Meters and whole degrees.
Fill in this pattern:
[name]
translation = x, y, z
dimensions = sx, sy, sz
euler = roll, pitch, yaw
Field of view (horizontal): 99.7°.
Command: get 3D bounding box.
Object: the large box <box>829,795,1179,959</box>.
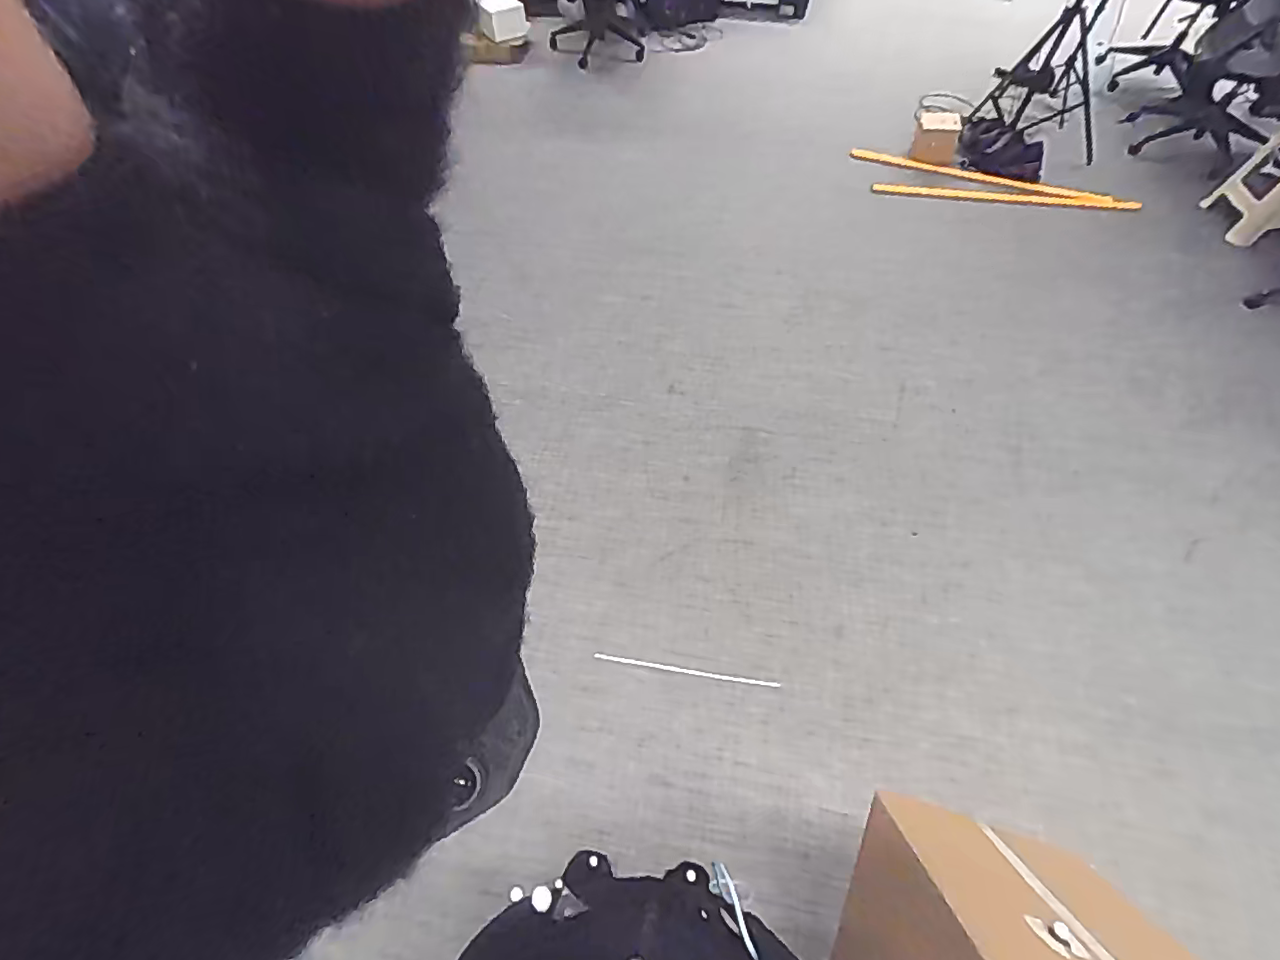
[large box]
translation = 0.440, 0.657, 0.615
dimensions = 0.320, 0.408, 0.320
euler = 16, 87, 8
